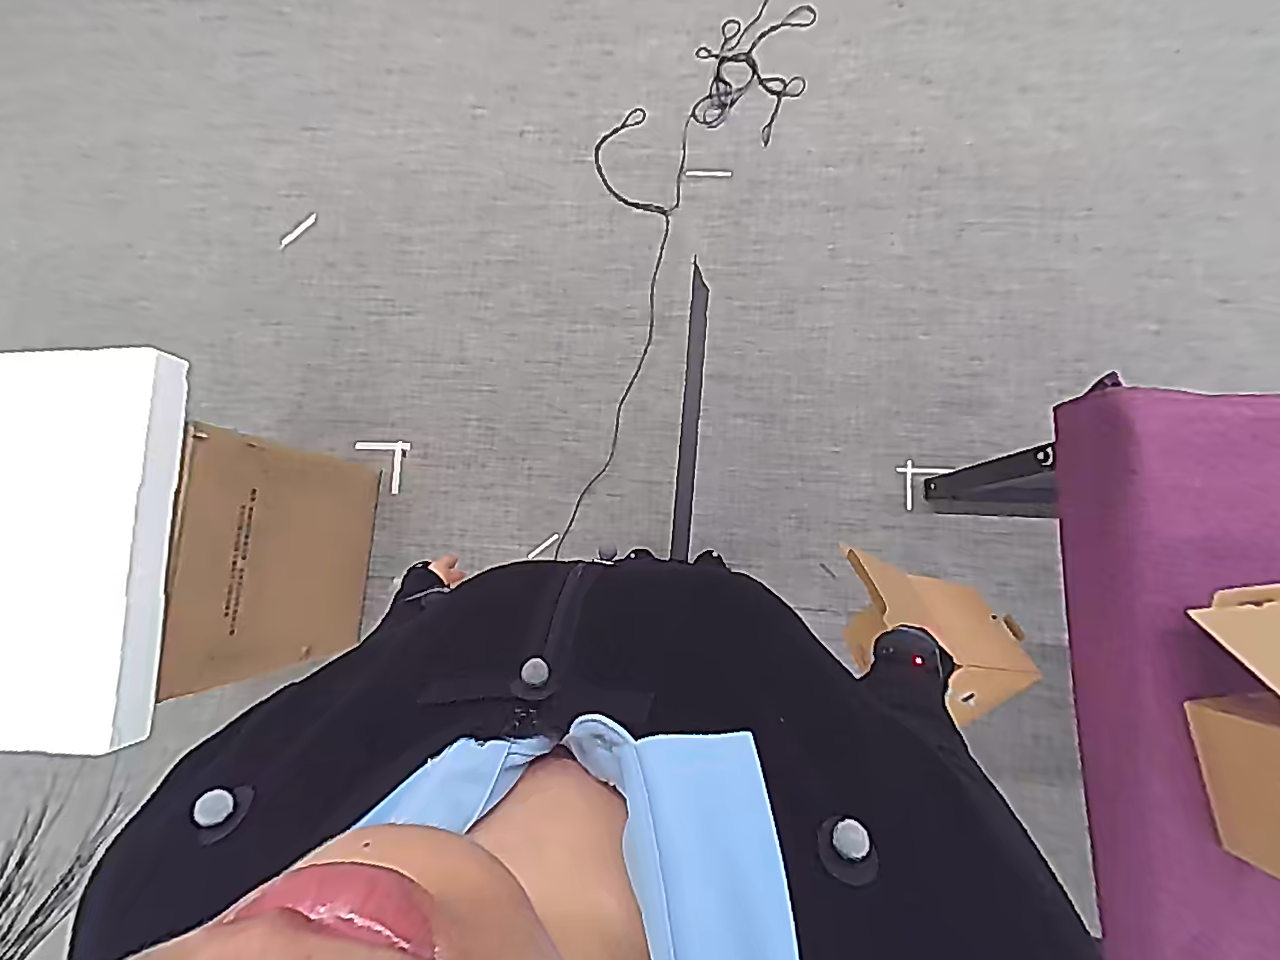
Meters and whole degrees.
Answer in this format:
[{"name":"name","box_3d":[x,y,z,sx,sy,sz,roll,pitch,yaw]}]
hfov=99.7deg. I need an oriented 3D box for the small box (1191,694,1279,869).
[{"name":"small box","box_3d":[0.768,0.337,0.586,0.168,0.176,0.179,-7,81,4]}]
